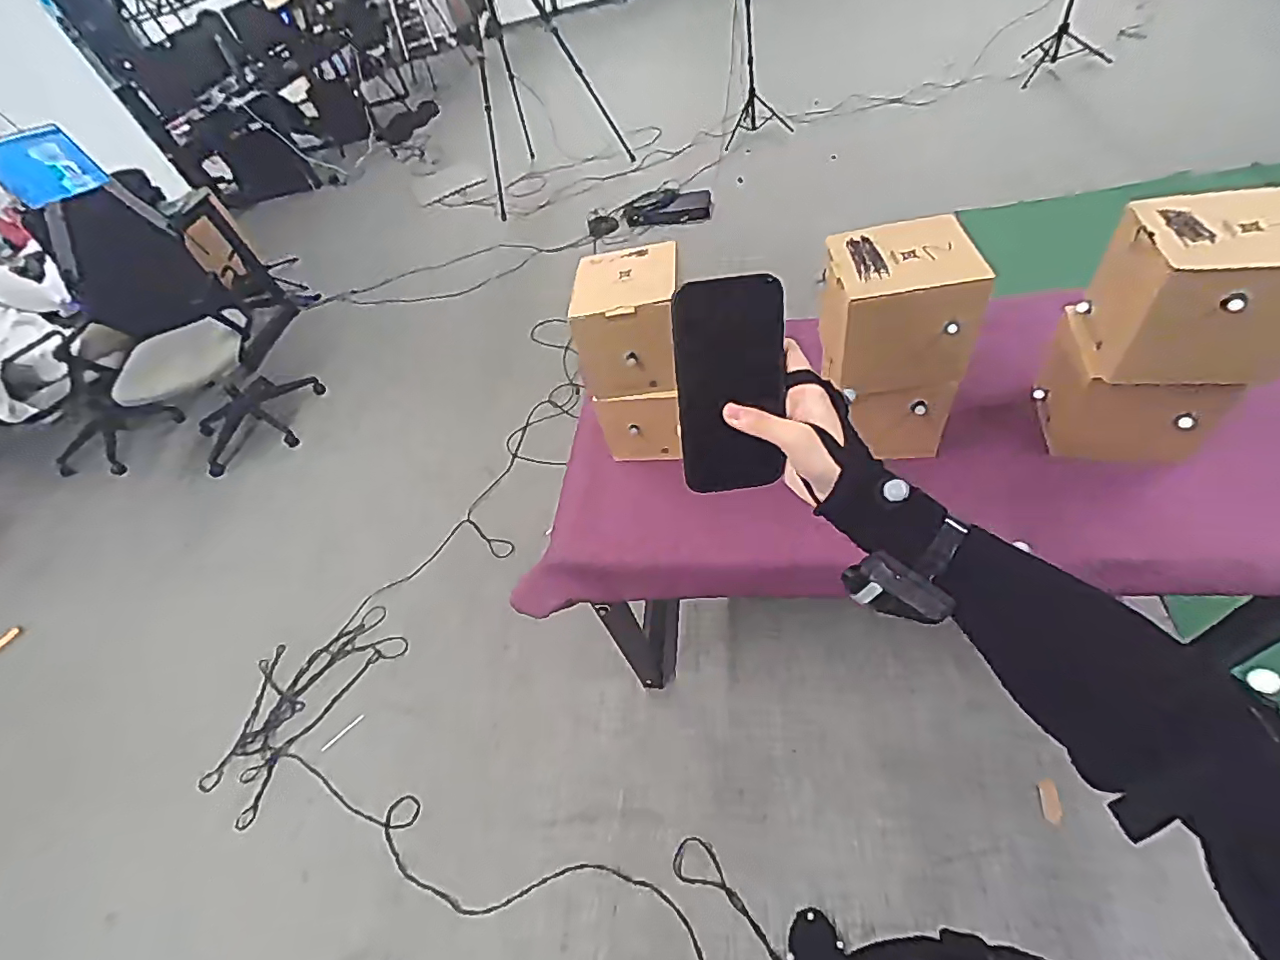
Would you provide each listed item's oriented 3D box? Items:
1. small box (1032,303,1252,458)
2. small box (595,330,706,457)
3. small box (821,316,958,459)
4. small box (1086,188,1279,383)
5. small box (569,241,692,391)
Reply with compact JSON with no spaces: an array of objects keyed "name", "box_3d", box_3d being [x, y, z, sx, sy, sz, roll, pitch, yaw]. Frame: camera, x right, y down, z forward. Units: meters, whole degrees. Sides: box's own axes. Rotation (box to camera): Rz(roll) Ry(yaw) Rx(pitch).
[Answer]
[{"name":"small box","box_3d":[0.731,-0.147,0.813,0.179,0.176,0.168,4,52,19]},{"name":"small box","box_3d":[0.029,-0.155,1.020,0.168,0.176,0.179,-1,51,15]},{"name":"small box","box_3d":[0.404,-0.150,0.907,0.179,0.176,0.168,-2,51,15]},{"name":"small box","box_3d":[0.702,-0.236,0.678,0.179,0.176,0.168,4,53,18]},{"name":"small box","box_3d":[-0.005,-0.263,0.900,0.168,0.176,0.179,-5,51,11]}]
